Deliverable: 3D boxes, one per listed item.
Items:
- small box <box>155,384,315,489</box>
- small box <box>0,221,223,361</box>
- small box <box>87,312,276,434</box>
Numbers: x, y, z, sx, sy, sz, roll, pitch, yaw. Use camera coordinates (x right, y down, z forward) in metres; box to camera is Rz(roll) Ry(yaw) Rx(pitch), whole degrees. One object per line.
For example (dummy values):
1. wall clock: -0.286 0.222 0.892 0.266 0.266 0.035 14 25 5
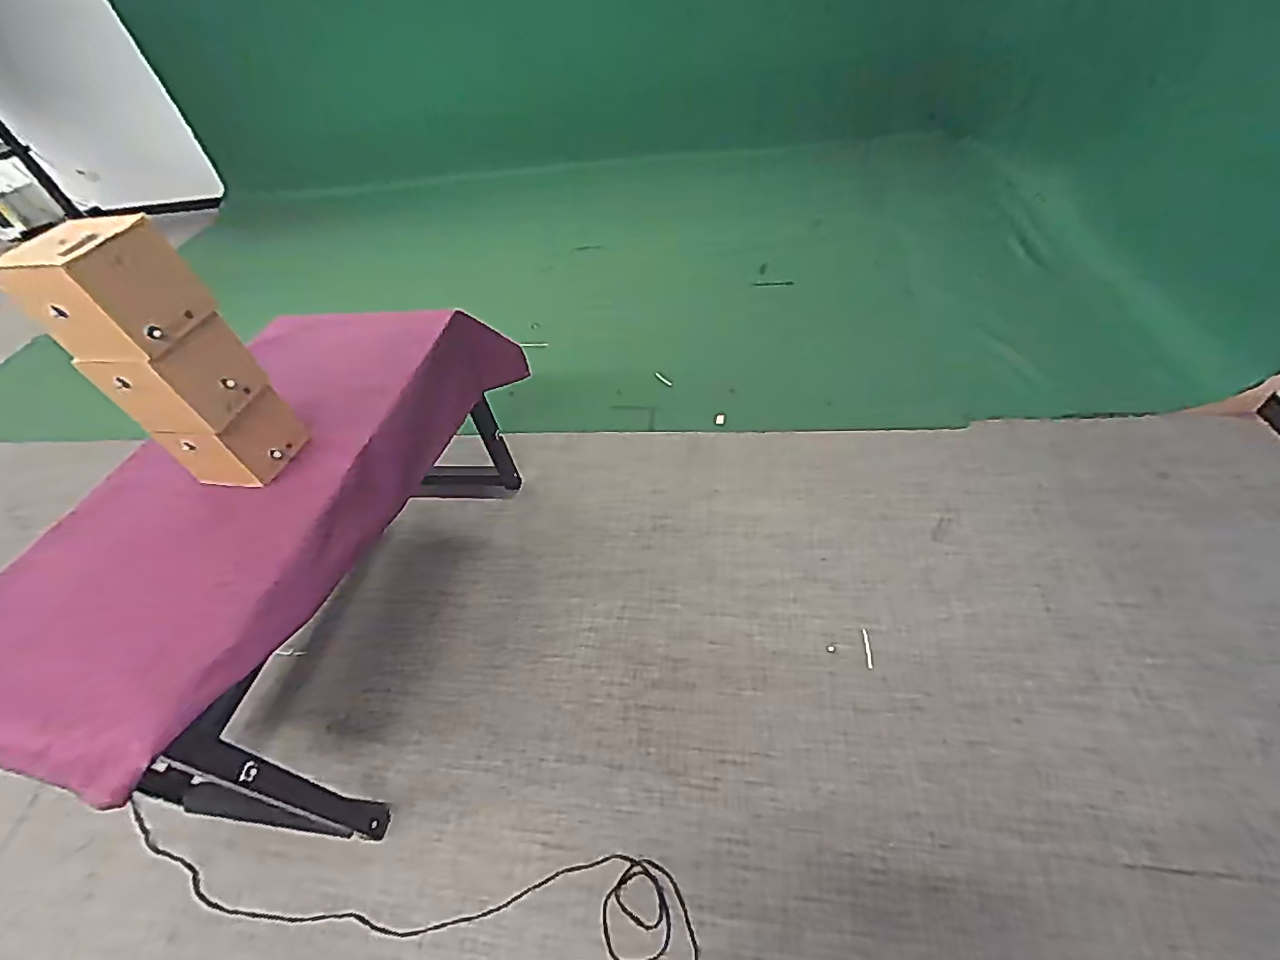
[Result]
1. small box: -0.855 -0.097 1.162 0.179 0.176 0.168 5 49 13
2. small box: -0.874 -0.315 0.916 0.179 0.176 0.168 3 49 14
3. small box: -0.862 -0.203 1.036 0.179 0.176 0.168 3 50 13
